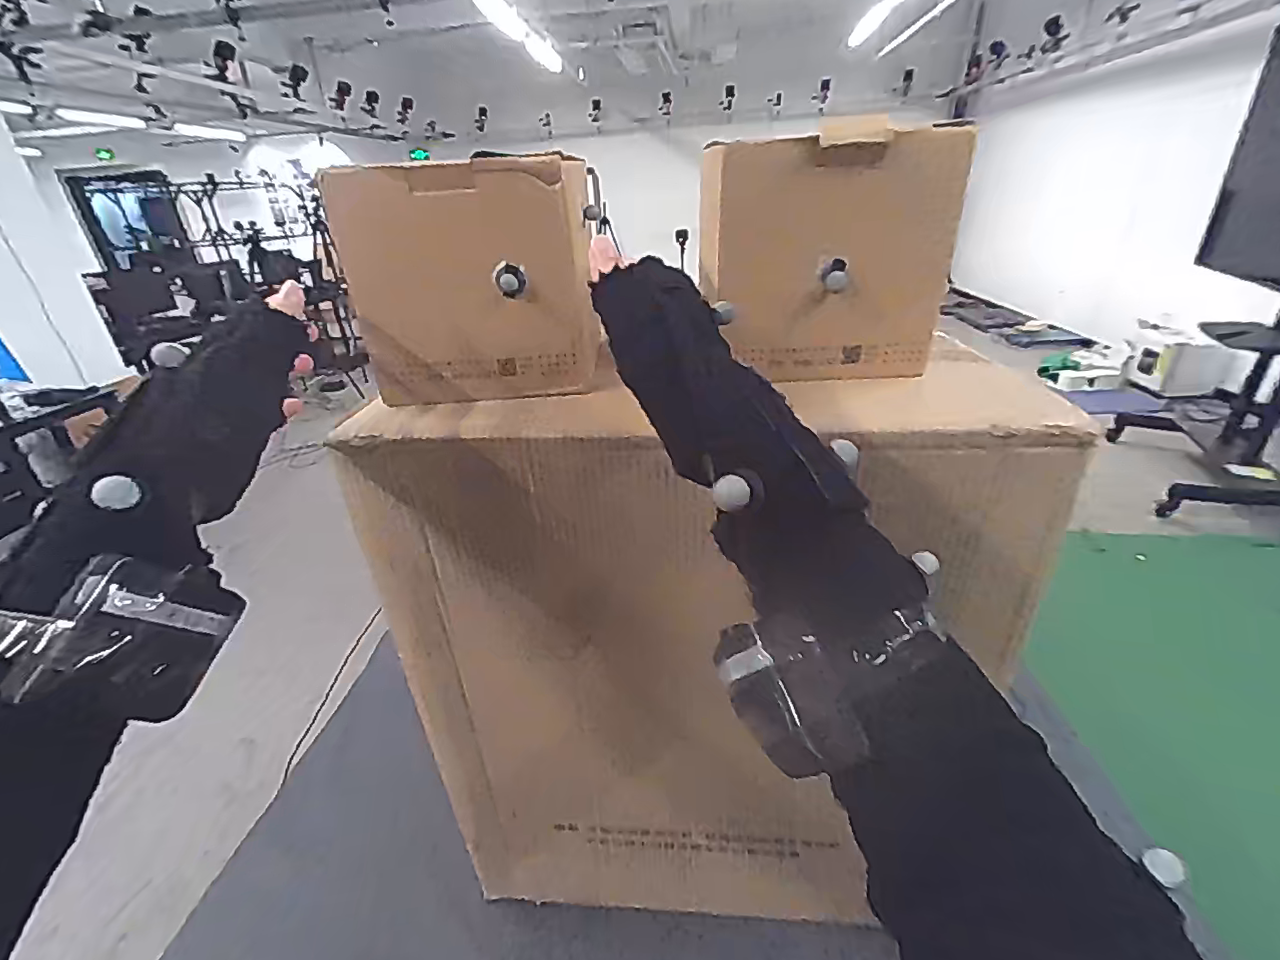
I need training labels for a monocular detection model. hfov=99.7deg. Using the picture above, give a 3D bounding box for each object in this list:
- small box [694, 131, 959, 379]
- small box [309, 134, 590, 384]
[{"bbox_3d":[0.135,-0.191,0.464,0.168,0.176,0.179,-2,31,3],"label":"small box"},{"bbox_3d":[-0.133,-0.186,0.460,0.168,0.176,0.179,-5,31,-2],"label":"small box"}]
